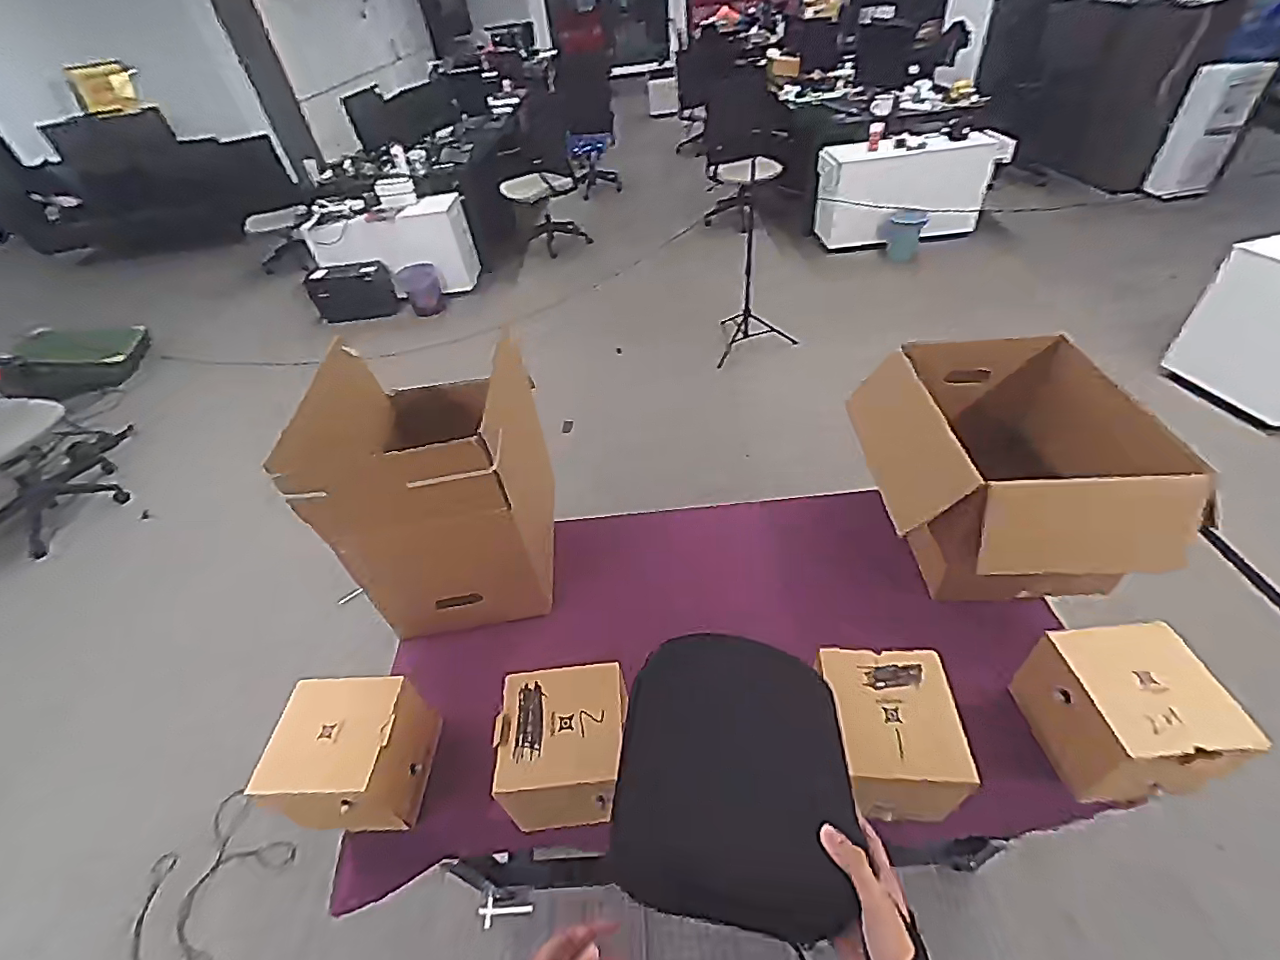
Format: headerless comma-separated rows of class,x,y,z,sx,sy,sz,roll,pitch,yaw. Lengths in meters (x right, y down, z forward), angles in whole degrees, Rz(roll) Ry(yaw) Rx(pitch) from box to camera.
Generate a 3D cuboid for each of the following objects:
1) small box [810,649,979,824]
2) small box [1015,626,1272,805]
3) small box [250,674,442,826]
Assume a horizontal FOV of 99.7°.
small box,0.345,0.366,0.776,0.168,0.176,0.179,-1,45,8
small box,0.675,0.331,0.759,0.168,0.176,0.179,-6,43,4
small box,-0.436,0.420,0.837,0.179,0.176,0.168,-3,43,4
